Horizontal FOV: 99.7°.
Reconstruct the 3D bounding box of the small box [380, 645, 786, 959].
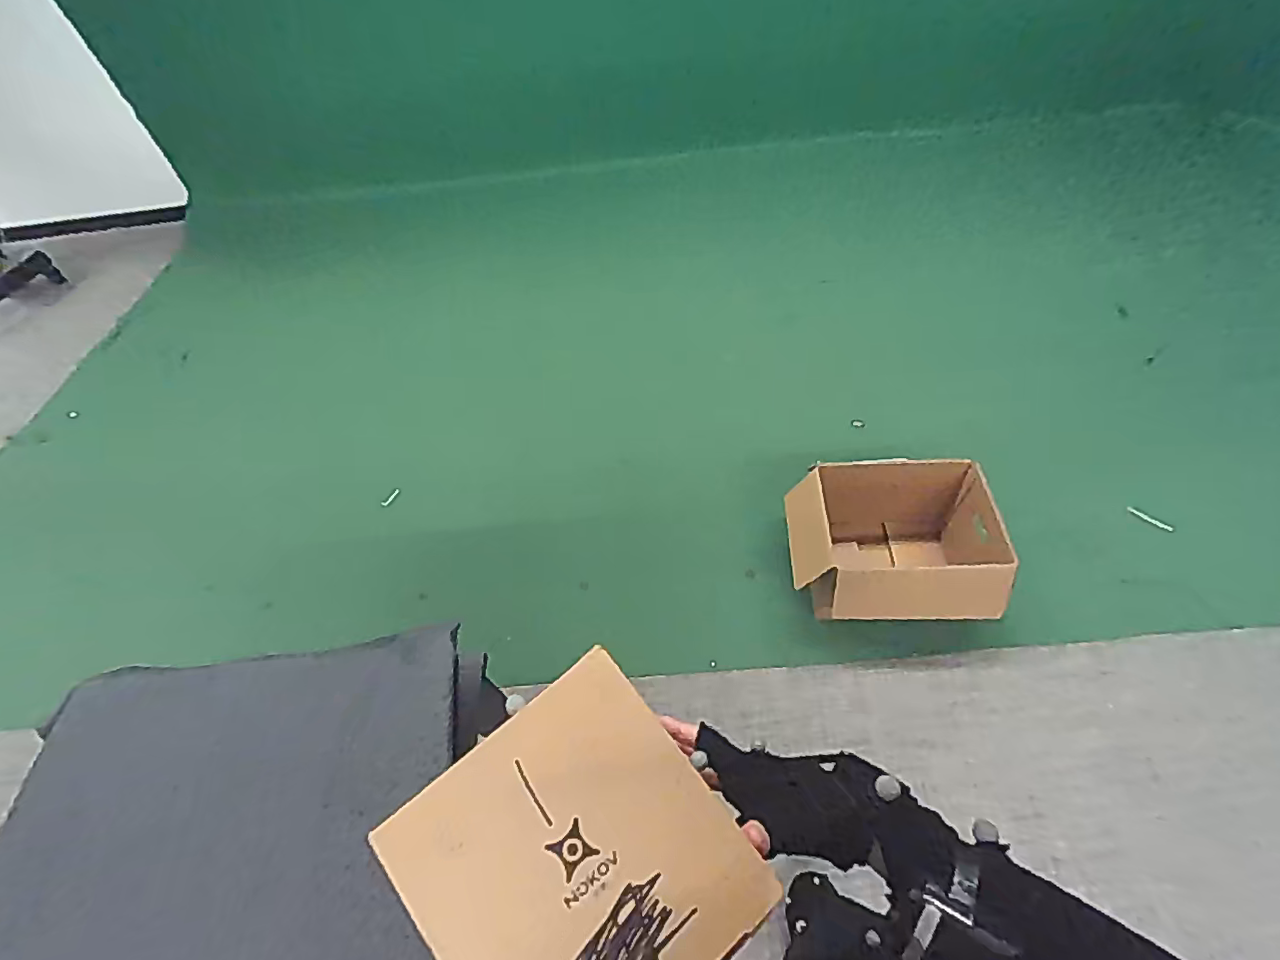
[{"bbox_3d":[-0.037,0.239,0.379,0.168,0.176,0.179,-36,76,-16],"label":"small box"}]
